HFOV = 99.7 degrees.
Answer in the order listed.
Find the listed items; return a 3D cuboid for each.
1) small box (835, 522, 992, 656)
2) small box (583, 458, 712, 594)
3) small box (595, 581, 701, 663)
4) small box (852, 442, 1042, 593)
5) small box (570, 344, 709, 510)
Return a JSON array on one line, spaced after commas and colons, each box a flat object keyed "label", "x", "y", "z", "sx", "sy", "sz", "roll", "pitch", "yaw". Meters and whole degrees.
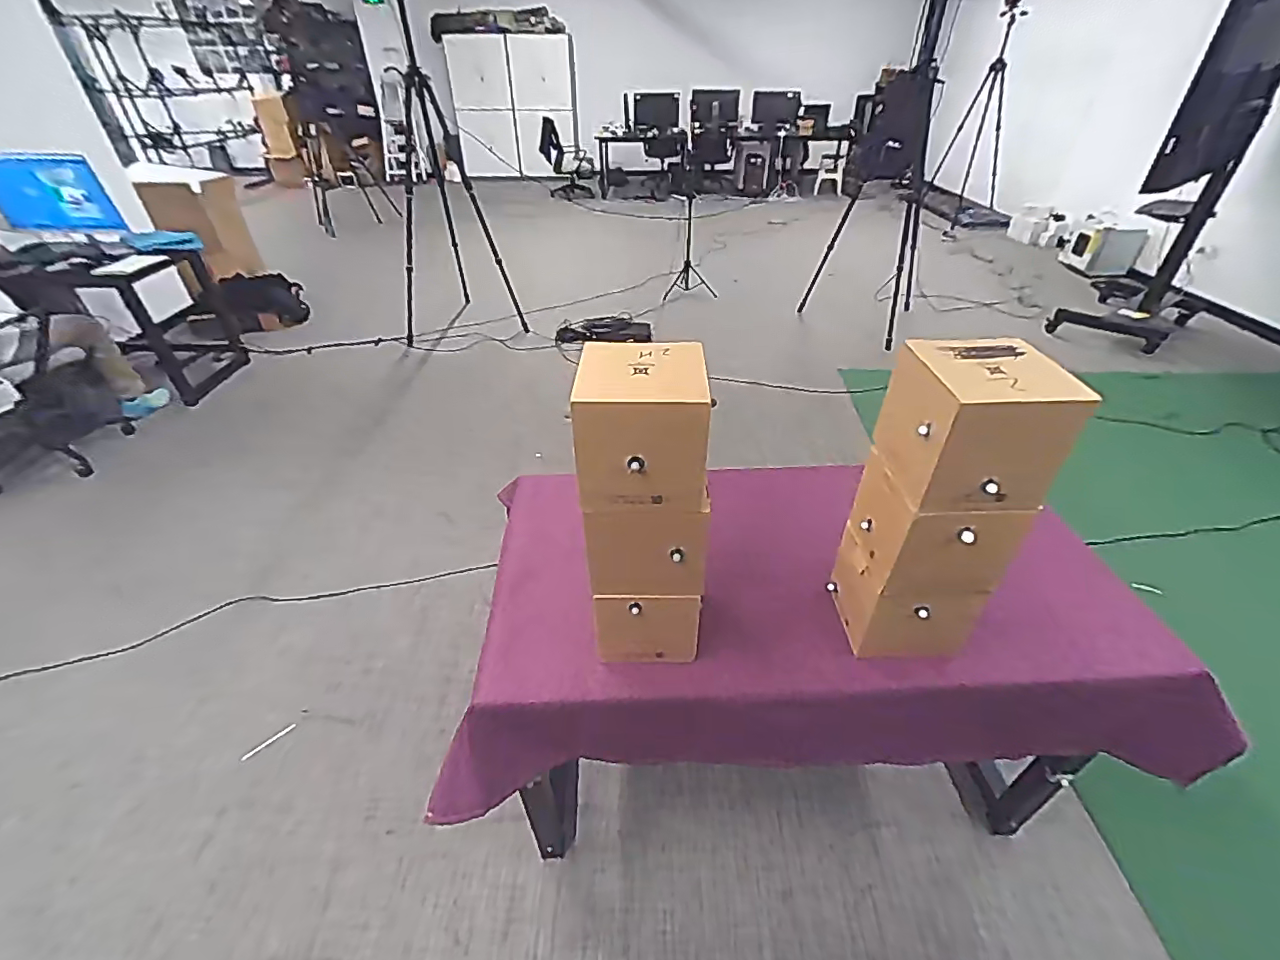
[{"label": "small box", "x": 0.450, "y": 0.187, "z": 0.930, "sx": 0.179, "sy": 0.176, "sz": 0.168, "roll": 0, "pitch": 38, "yaw": 0}, {"label": "small box", "x": 0.013, "y": 0.061, "z": 0.834, "sx": 0.179, "sy": 0.176, "sz": 0.168, "roll": 0, "pitch": 37, "yaw": 2}, {"label": "small box", "x": 0.014, "y": 0.191, "z": 0.934, "sx": 0.168, "sy": 0.176, "sz": 0.179, "roll": -1, "pitch": 37, "yaw": 1}, {"label": "small box", "x": 0.452, "y": 0.058, "z": 0.831, "sx": 0.179, "sy": 0.176, "sz": 0.168, "roll": -2, "pitch": 38, "yaw": 0}, {"label": "small box", "x": 0.005, "y": -0.073, "z": 0.739, "sx": 0.168, "sy": 0.176, "sz": 0.179, "roll": 1, "pitch": 37, "yaw": 2}]
